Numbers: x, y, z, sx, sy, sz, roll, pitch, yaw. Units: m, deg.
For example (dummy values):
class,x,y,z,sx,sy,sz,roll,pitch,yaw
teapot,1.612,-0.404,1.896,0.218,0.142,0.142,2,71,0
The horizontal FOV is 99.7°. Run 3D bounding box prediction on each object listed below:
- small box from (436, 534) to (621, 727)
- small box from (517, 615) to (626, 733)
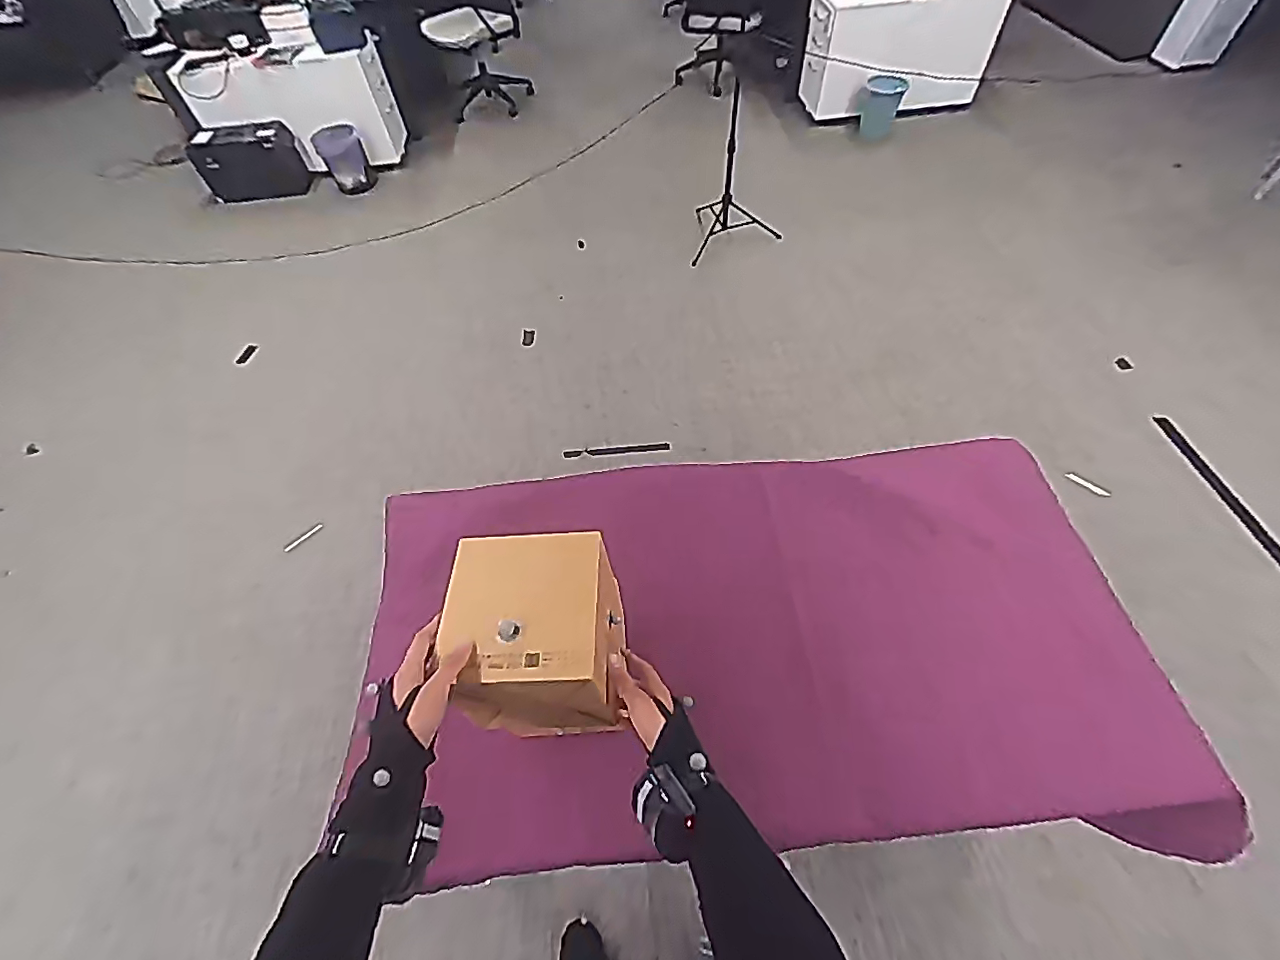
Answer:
class,x,y,z,sx,sy,sz,roll,pitch,yaw
small box,-0.117,0.181,0.629,0.168,0.179,0.176,-3,53,4
small box,-0.108,0.263,0.788,0.168,0.176,0.179,-3,55,0
